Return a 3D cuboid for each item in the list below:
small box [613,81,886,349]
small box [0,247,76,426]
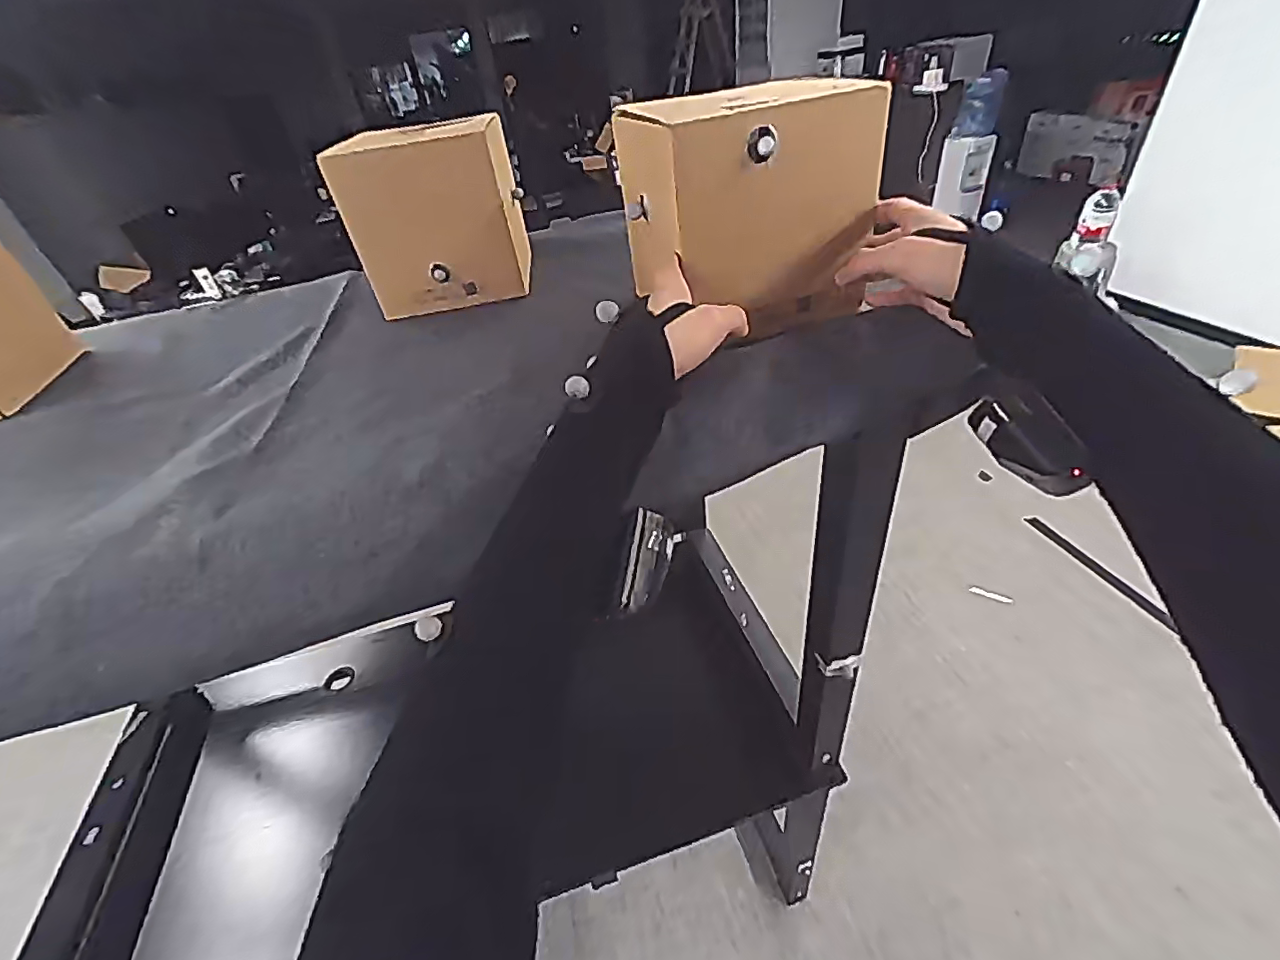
[{"bbox_3d":[0.083,-0.235,0.478,0.168,0.176,0.179,-16,38,-7],"label":"small box"},{"bbox_3d":[-0.733,-0.144,0.532,0.168,0.176,0.179,-17,40,-10],"label":"small box"}]
